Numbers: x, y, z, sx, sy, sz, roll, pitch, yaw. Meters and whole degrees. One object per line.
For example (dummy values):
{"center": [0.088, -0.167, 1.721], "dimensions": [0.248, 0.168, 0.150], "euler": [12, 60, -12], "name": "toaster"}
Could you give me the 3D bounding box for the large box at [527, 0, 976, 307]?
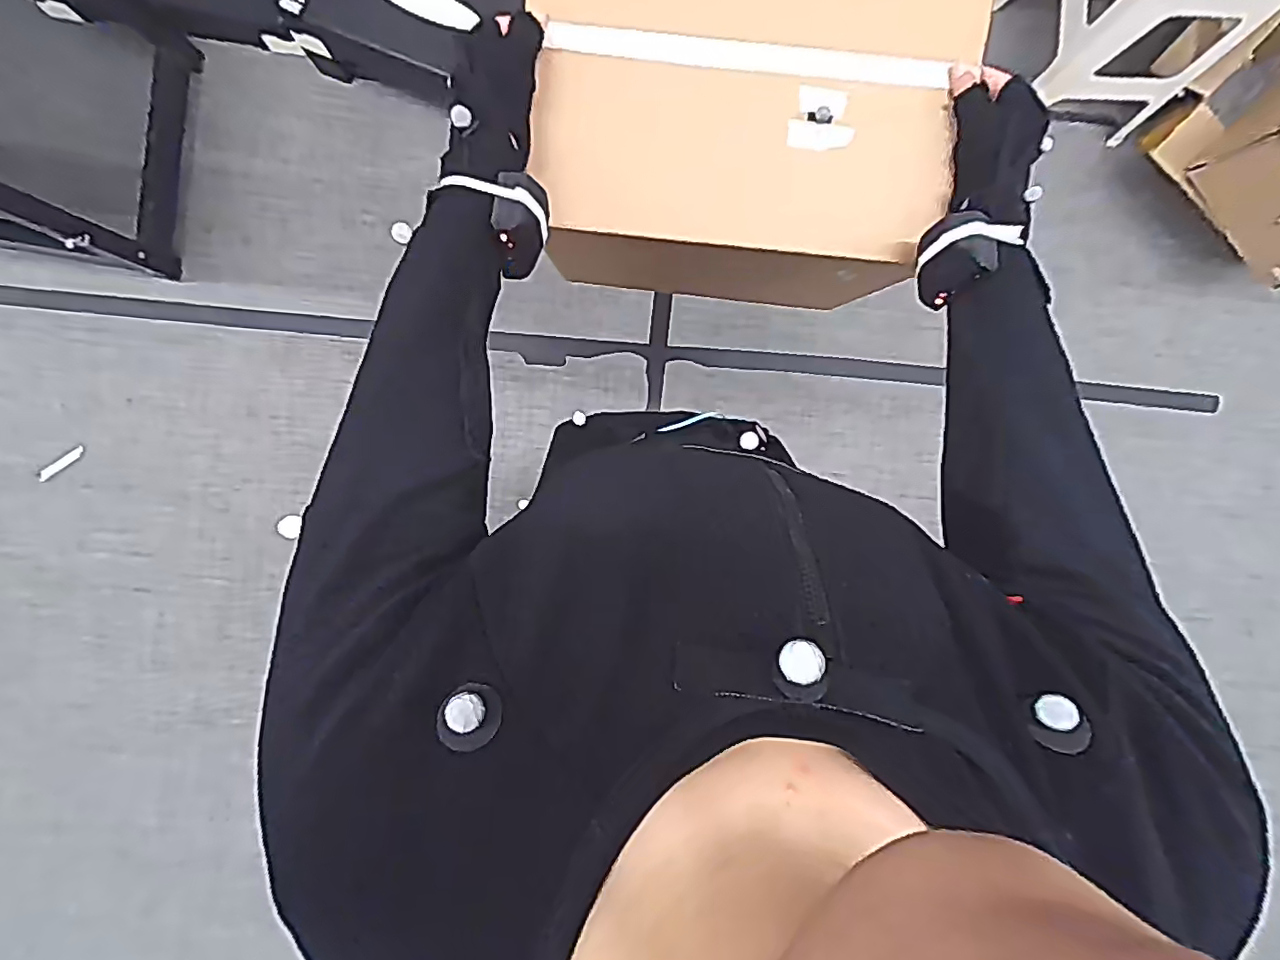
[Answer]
{"center": [0.096, -0.400, 0.643], "dimensions": [0.408, 0.320, 0.320], "euler": [5, 101, -1], "name": "large box"}
